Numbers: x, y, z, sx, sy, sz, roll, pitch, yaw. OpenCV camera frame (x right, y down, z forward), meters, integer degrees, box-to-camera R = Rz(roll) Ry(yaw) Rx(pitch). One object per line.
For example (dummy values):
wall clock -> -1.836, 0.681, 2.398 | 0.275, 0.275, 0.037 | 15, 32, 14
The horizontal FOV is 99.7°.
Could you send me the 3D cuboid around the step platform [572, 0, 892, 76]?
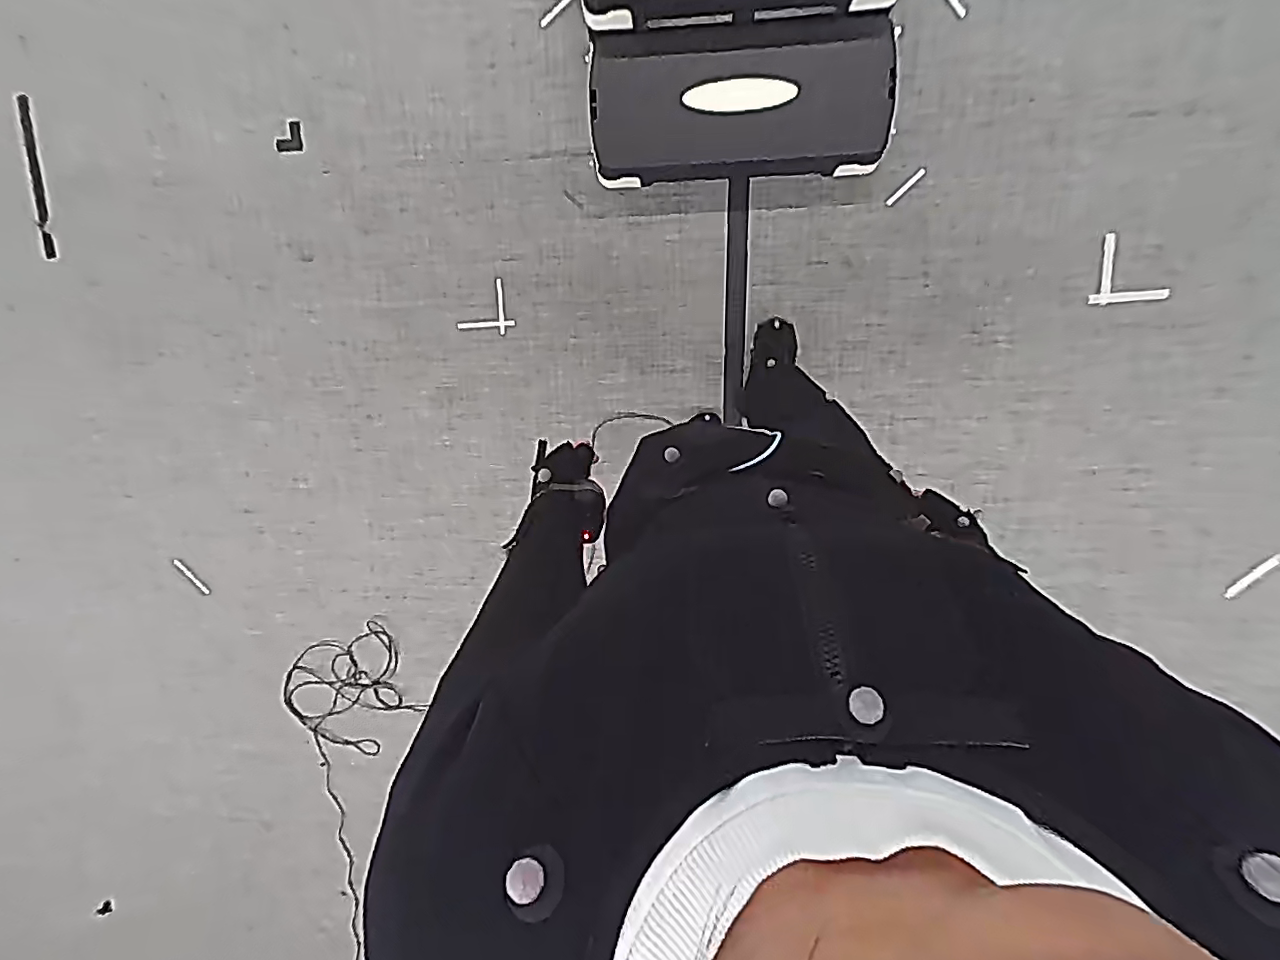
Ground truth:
step platform -> 0.188, -1.088, 1.142 | 0.684, 0.204, 0.286 | -2, 101, 4
